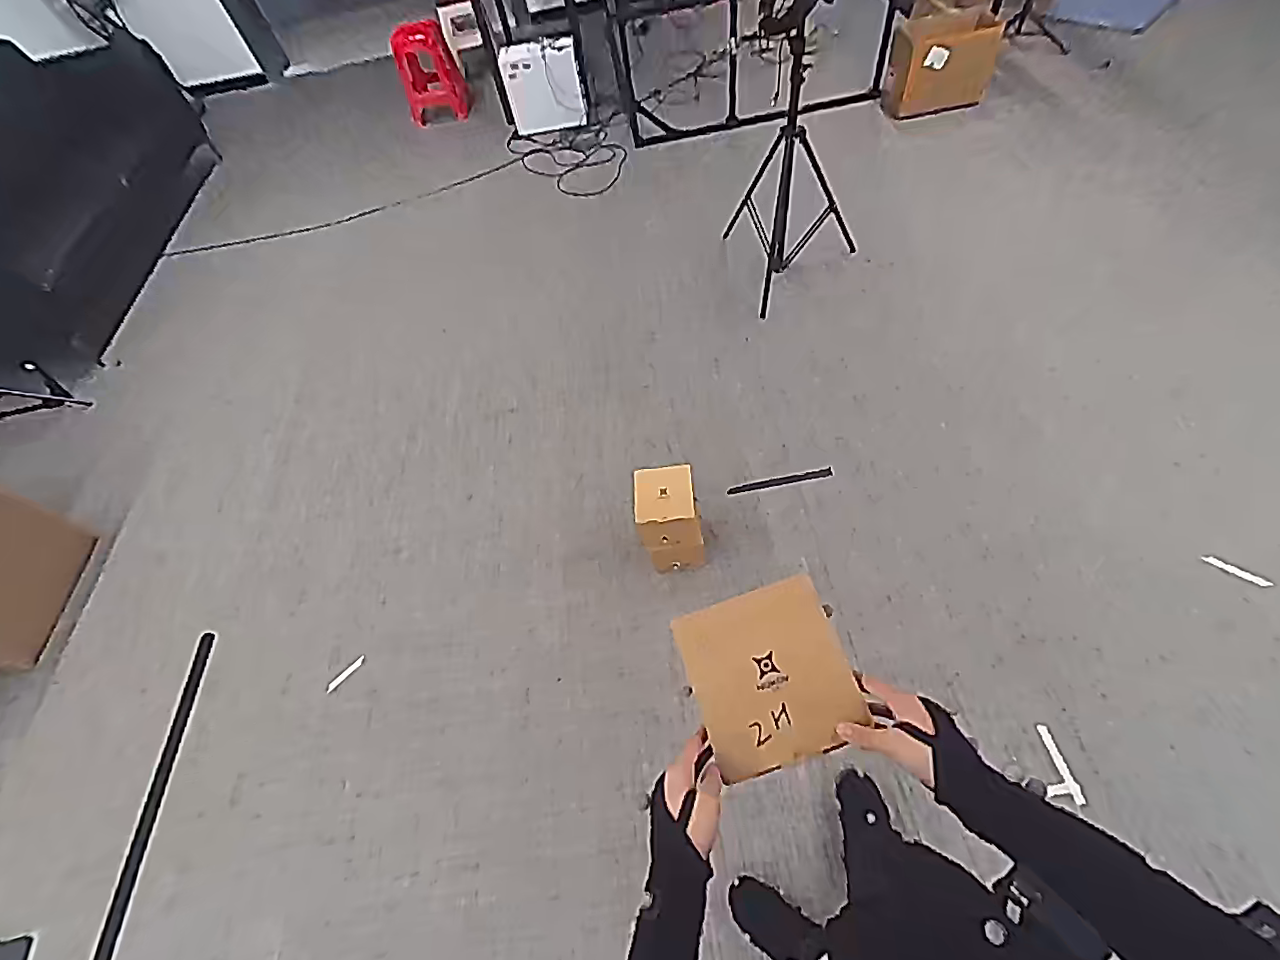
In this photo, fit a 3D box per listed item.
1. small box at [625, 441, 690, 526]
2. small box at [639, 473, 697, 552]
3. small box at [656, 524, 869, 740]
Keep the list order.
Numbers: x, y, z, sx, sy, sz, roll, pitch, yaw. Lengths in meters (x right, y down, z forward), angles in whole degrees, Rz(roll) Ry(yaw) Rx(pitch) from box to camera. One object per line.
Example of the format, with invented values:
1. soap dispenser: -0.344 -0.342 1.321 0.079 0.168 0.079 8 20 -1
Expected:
1. small box: 0.050 0.014 1.539 0.168 0.176 0.179 -6 58 6
2. small box: 0.083 0.102 1.671 0.168 0.176 0.179 -8 57 5
3. small box: 0.126 0.173 0.615 0.168 0.176 0.179 -19 69 1
